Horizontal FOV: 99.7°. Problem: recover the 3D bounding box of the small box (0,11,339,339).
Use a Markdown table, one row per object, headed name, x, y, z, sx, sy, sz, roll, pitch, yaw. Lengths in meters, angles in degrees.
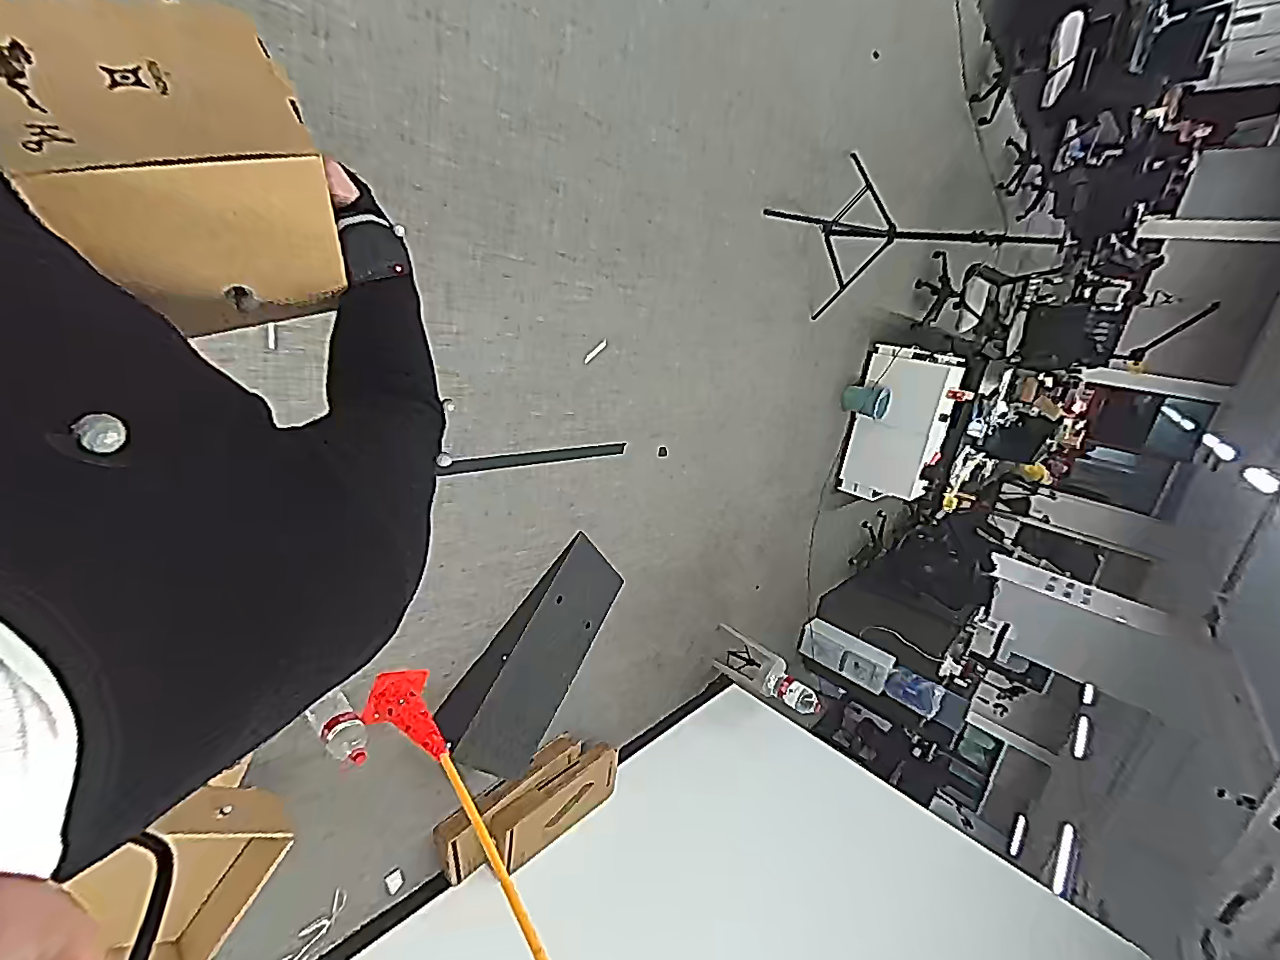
| name | x | y | z | sx | sy | sz | roll | pitch | yaw |
| --- | --- | --- | --- | --- | --- | --- | --- | --- | --- |
| small box | -0.381 | -0.250 | 0.465 | 0.179 | 0.168 | 0.176 | -25 | 165 | -28 |
